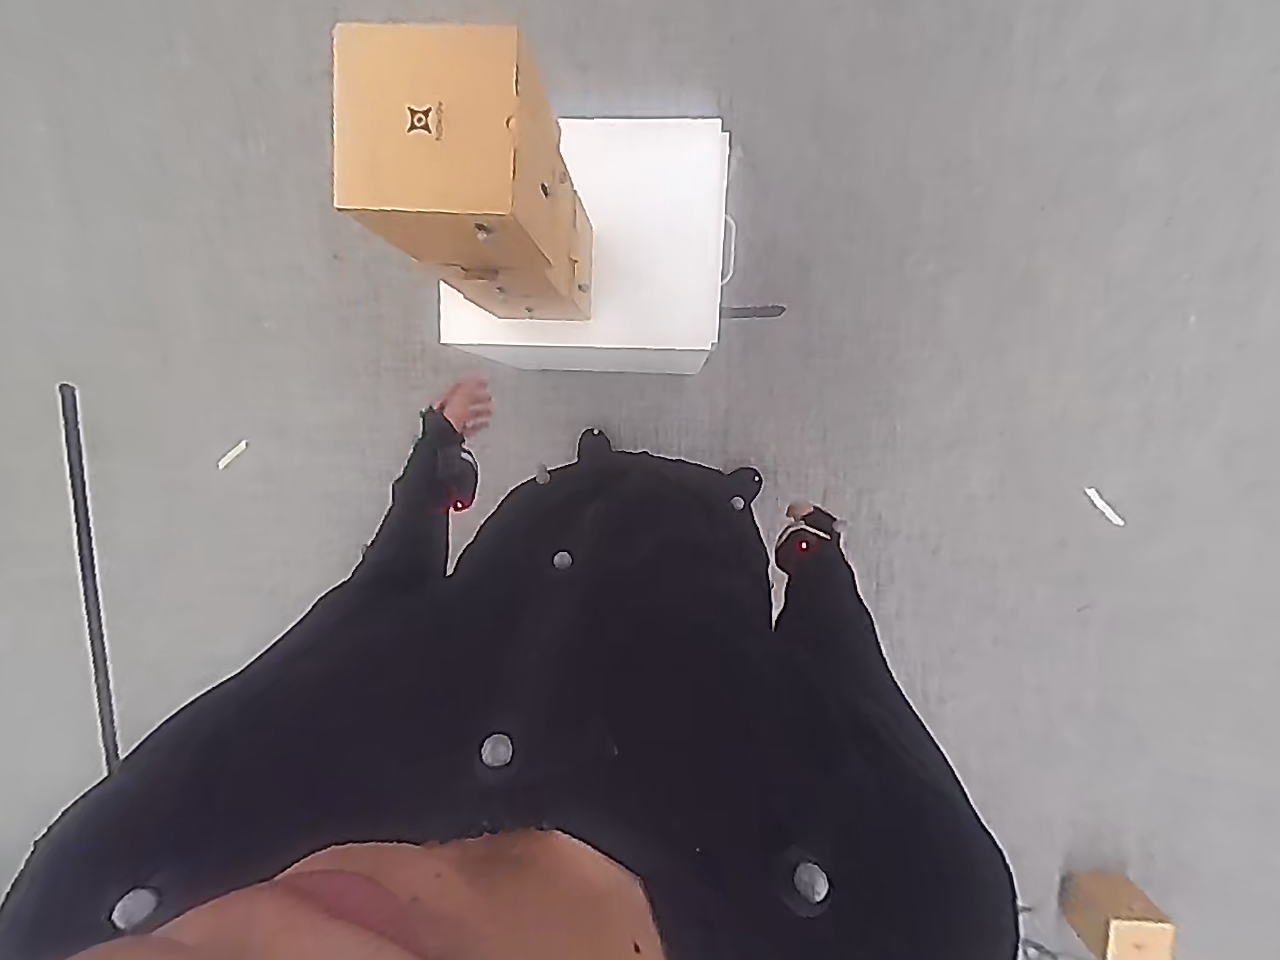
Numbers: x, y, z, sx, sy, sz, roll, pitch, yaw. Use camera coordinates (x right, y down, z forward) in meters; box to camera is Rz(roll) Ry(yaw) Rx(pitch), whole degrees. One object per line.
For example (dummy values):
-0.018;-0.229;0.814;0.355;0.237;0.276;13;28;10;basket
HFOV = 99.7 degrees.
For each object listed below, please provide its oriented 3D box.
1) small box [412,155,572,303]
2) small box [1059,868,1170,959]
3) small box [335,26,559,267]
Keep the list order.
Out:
-0.191;-0.356;0.741;0.168;0.176;0.179;5;96;4;small box
1.413;1.307;1.620;0.179;0.176;0.168;2;96;3;small box
-0.193;-0.337;0.579;0.179;0.176;0.168;3;96;3;small box
